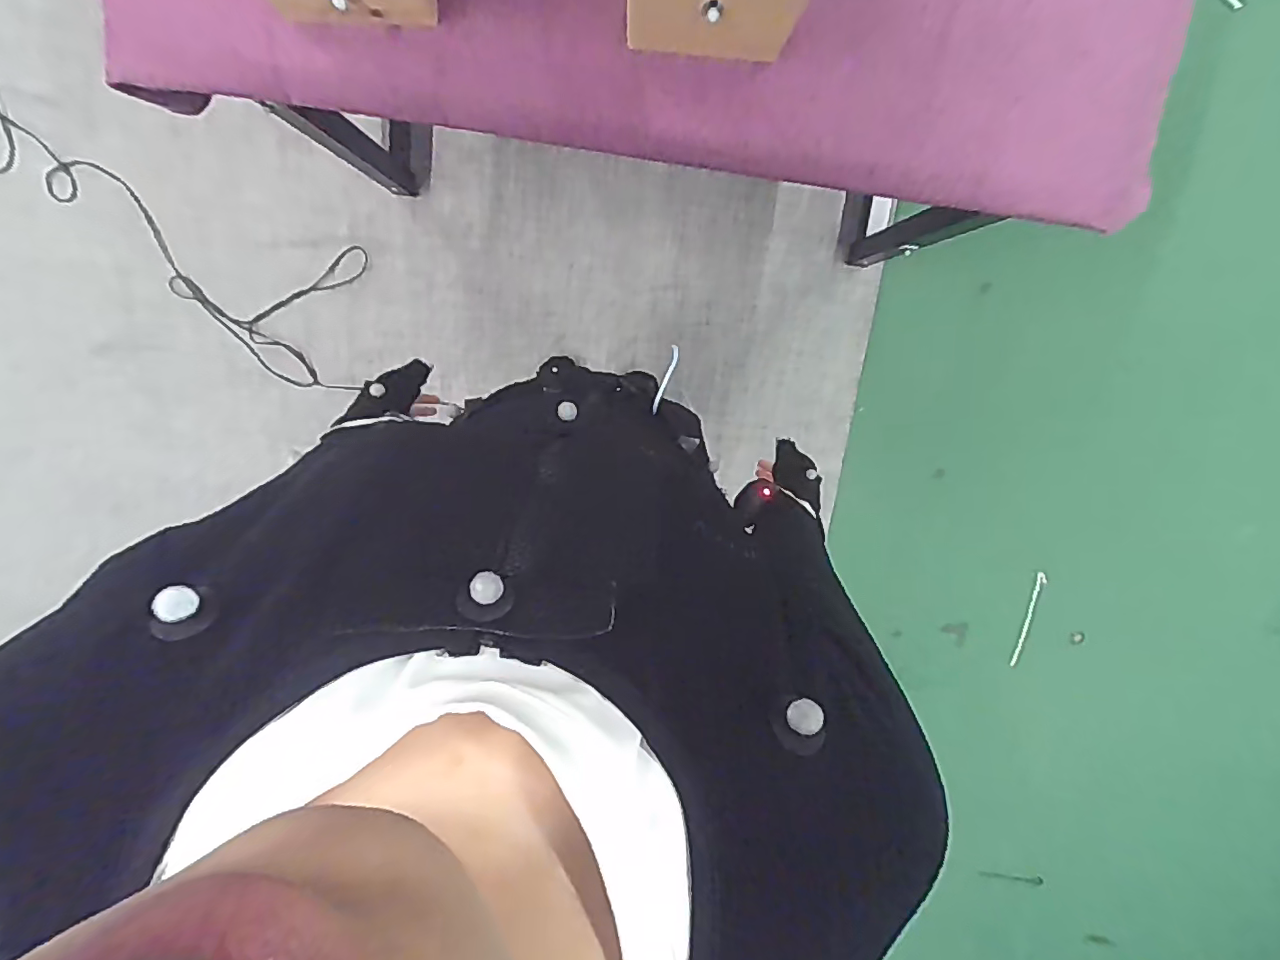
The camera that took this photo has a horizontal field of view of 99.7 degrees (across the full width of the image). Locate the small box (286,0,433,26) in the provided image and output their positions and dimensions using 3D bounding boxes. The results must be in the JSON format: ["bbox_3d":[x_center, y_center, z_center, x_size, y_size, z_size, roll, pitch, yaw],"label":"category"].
[{"bbox_3d":[-0.305,-0.582,0.508,0.168,0.176,0.179,1,103,-3],"label":"small box"}]
